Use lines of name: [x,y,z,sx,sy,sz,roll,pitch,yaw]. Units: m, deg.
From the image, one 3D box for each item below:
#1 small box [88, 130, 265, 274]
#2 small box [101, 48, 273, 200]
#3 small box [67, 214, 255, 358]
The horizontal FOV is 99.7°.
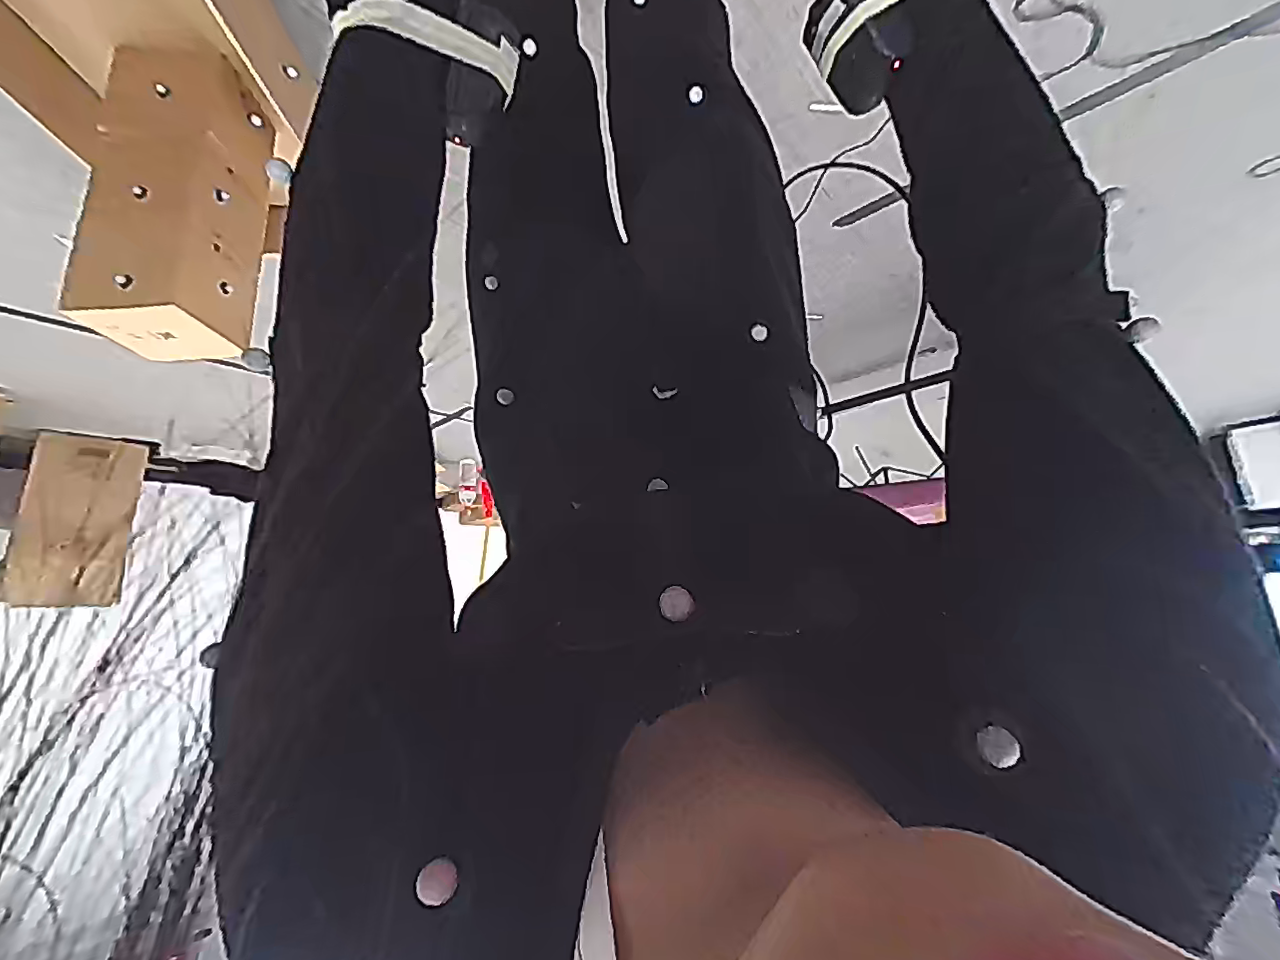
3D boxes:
small box: [-0.796,-0.482,0.950,0.179,0.176,0.168,-2,166,-1]
small box: [-0.803,-0.641,0.981,0.179,0.176,0.168,-3,167,-6]
small box: [-0.785,-0.322,0.908,0.179,0.176,0.168,-4,166,-1]
